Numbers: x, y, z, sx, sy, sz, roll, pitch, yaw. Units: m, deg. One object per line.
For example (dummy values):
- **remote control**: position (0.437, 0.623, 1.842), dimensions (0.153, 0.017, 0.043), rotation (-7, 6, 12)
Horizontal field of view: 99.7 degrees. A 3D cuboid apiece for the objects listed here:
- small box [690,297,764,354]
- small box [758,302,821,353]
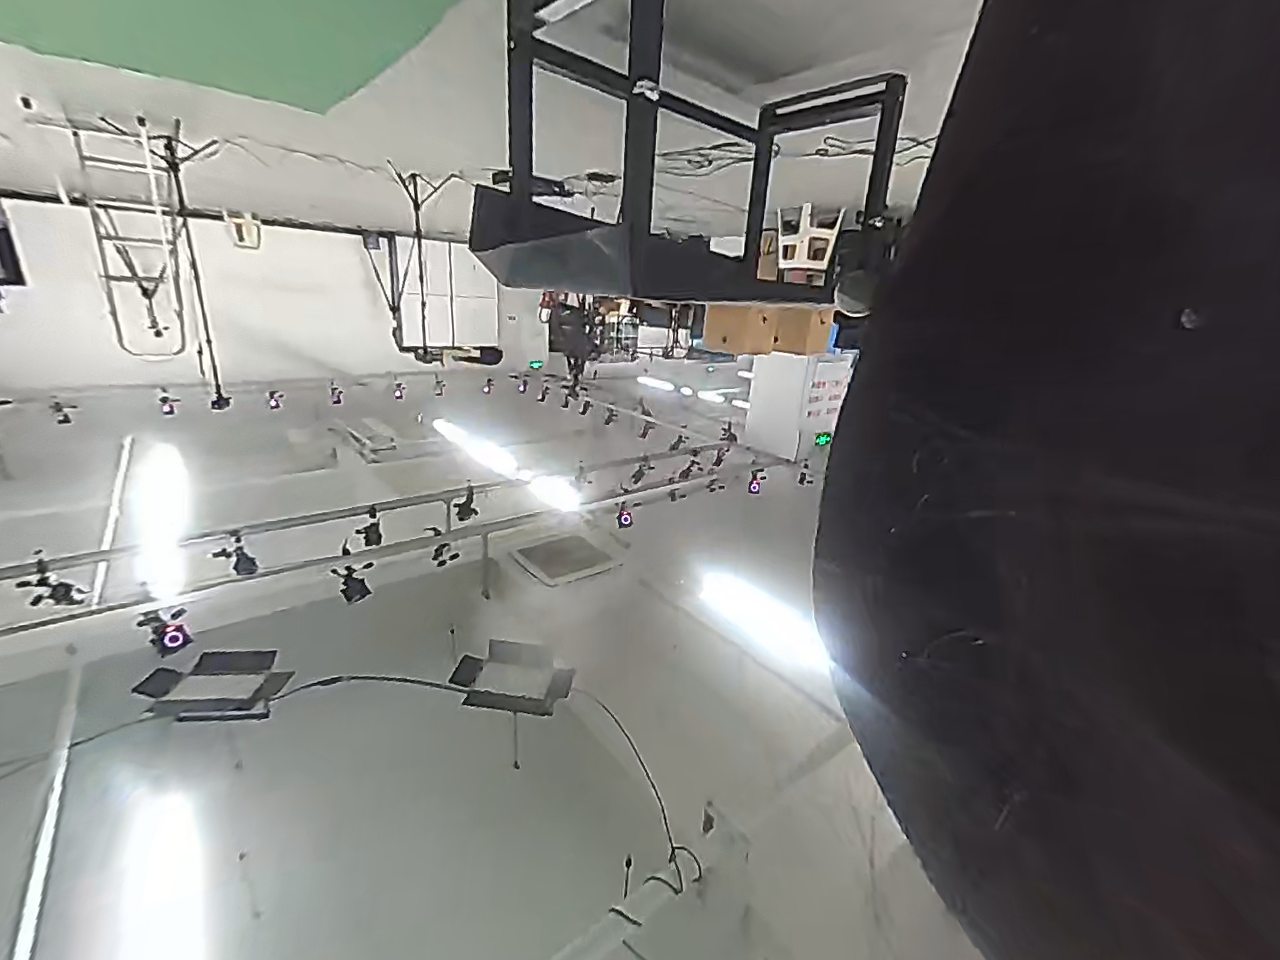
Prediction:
- **small box**: position (0.289, -0.510, 1.784), dimensions (0.168, 0.176, 0.179), rotation (-14, -155, -42)
- **small box**: position (0.542, -0.565, 1.993), dimensions (0.168, 0.176, 0.179), rotation (-16, -154, -43)
